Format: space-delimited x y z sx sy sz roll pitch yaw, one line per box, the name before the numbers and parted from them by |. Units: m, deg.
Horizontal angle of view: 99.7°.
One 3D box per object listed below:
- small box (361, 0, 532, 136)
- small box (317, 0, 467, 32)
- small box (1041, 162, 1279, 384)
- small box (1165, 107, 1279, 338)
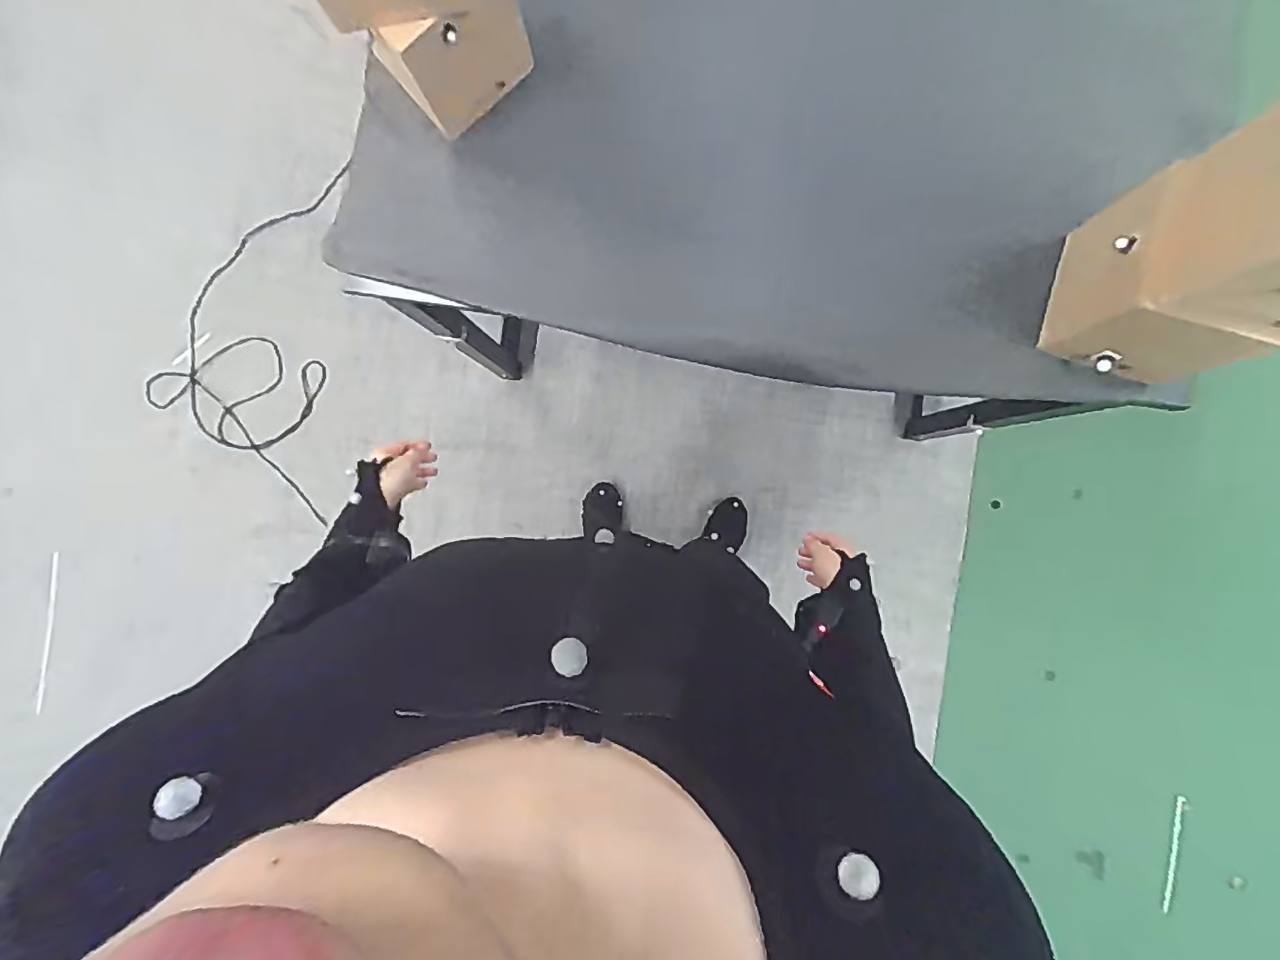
small box | -0.268 -0.604 0.699 0.168 0.176 0.179 -41 89 1
small box | -0.274 -0.600 0.535 0.179 0.176 0.168 -10 90 2
small box | 0.641 -0.238 0.662 0.168 0.176 0.179 17 88 4
small box | 0.650 -0.247 0.500 0.168 0.176 0.179 15 86 3
